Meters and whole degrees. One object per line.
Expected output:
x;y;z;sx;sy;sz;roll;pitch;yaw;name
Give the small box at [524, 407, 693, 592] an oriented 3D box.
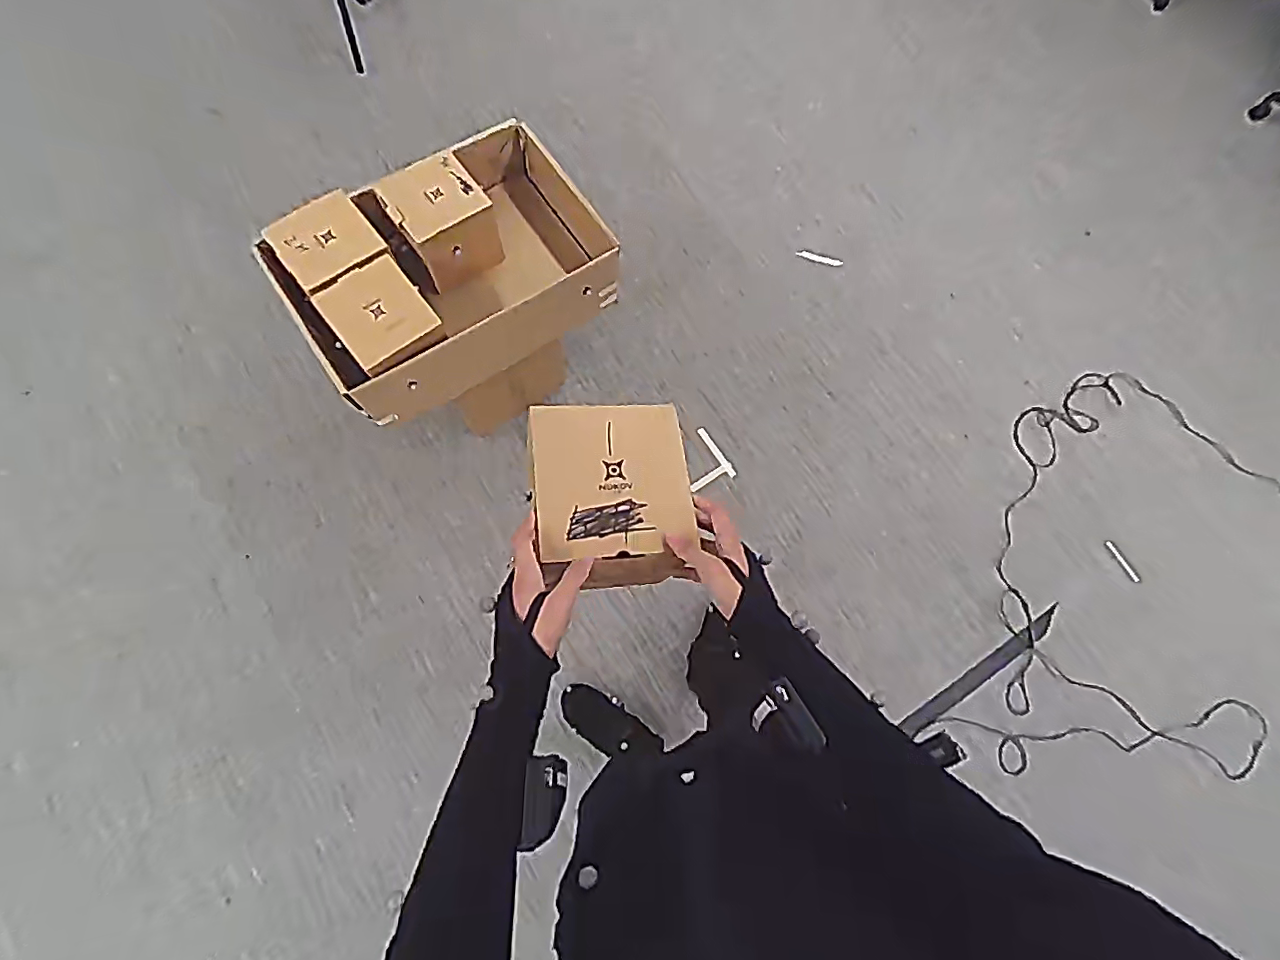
-0.049;0.031;0.639;0.168;0.176;0.179;-3;68;-14;small box
